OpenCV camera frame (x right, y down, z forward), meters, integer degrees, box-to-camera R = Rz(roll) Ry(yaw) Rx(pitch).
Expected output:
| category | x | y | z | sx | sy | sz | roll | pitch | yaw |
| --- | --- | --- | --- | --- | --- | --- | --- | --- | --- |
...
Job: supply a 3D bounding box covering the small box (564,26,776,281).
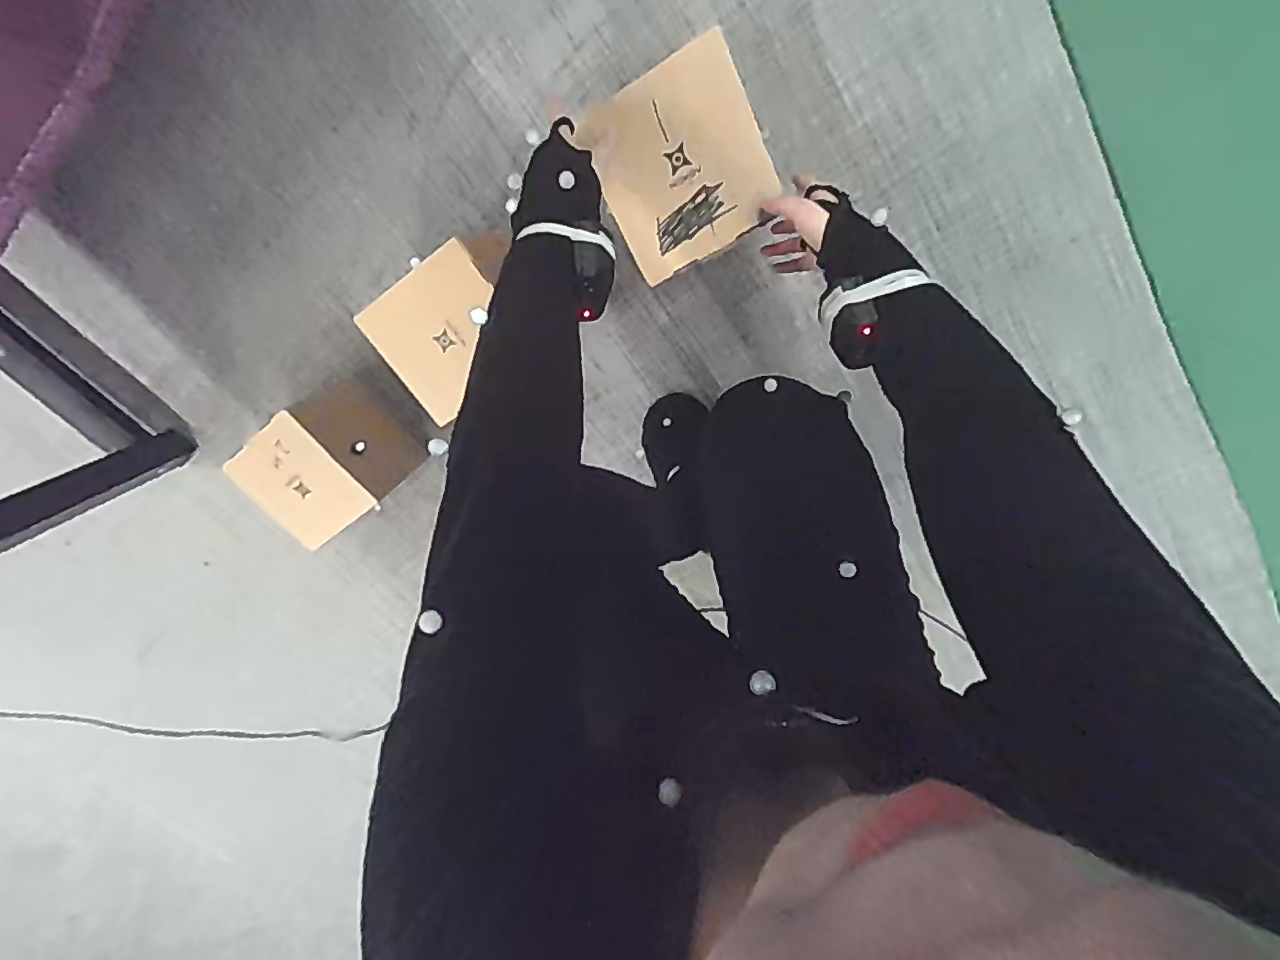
| category | x | y | z | sx | sy | sz | roll | pitch | yaw |
| --- | --- | --- | --- | --- | --- | --- | --- | --- | --- |
| small box | 0.042 | -0.355 | 0.619 | 0.168 | 0.176 | 0.179 | -23 | 111 | 17 |
